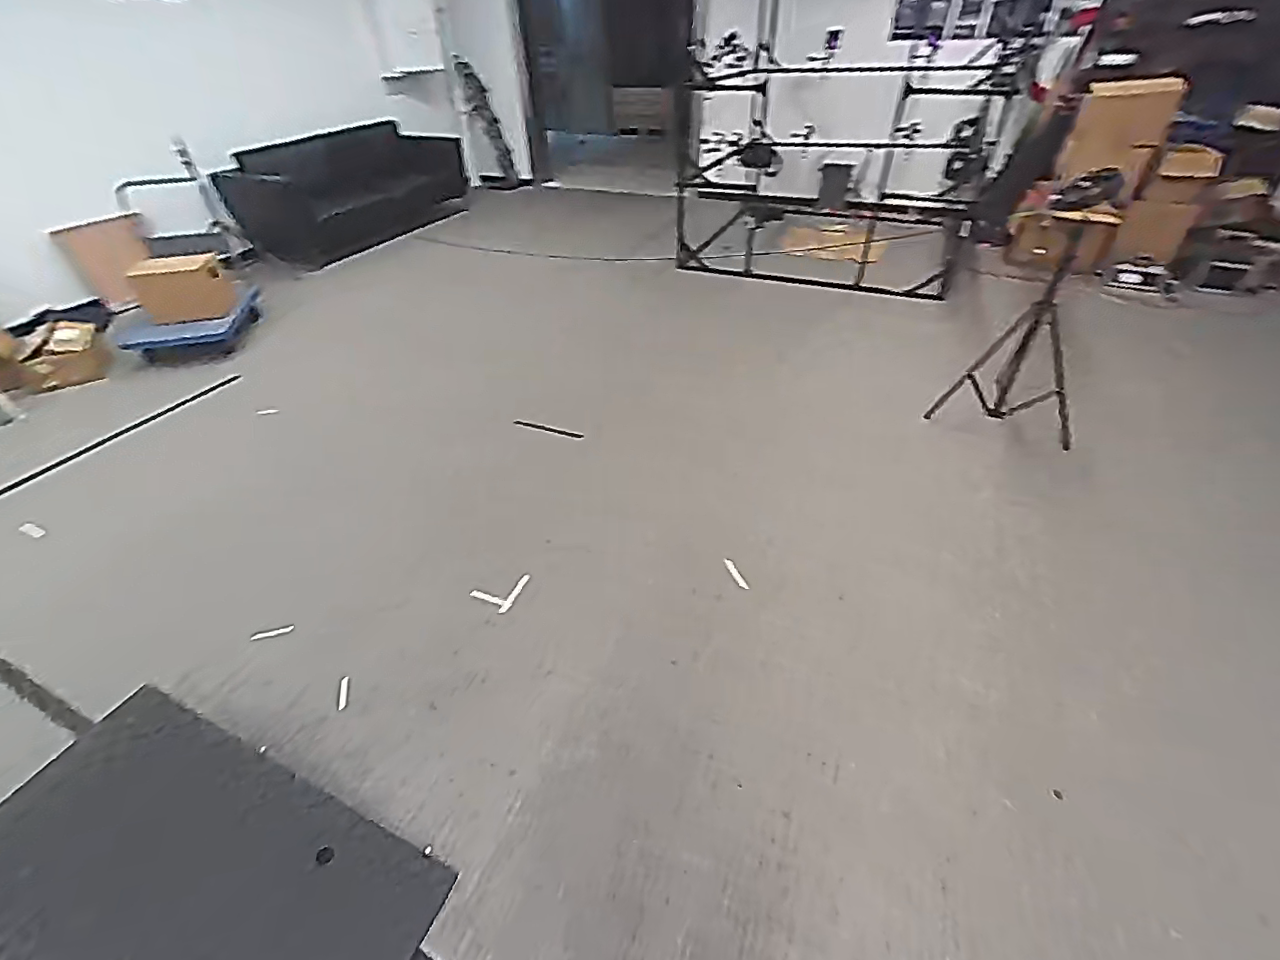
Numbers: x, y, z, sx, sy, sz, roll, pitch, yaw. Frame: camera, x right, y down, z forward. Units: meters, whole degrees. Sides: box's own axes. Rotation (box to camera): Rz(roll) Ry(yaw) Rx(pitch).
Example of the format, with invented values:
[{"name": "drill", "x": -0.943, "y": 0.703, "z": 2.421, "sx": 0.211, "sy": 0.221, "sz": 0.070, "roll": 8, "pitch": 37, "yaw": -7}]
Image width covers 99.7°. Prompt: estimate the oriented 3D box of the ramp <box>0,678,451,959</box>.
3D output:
[{"name": "ramp", "x": -0.979, "y": 0.869, "z": 1.207, "sx": 0.991, "sy": 0.206, "sz": 0.509, "roll": 14, "pitch": 41, "yaw": 18}]
